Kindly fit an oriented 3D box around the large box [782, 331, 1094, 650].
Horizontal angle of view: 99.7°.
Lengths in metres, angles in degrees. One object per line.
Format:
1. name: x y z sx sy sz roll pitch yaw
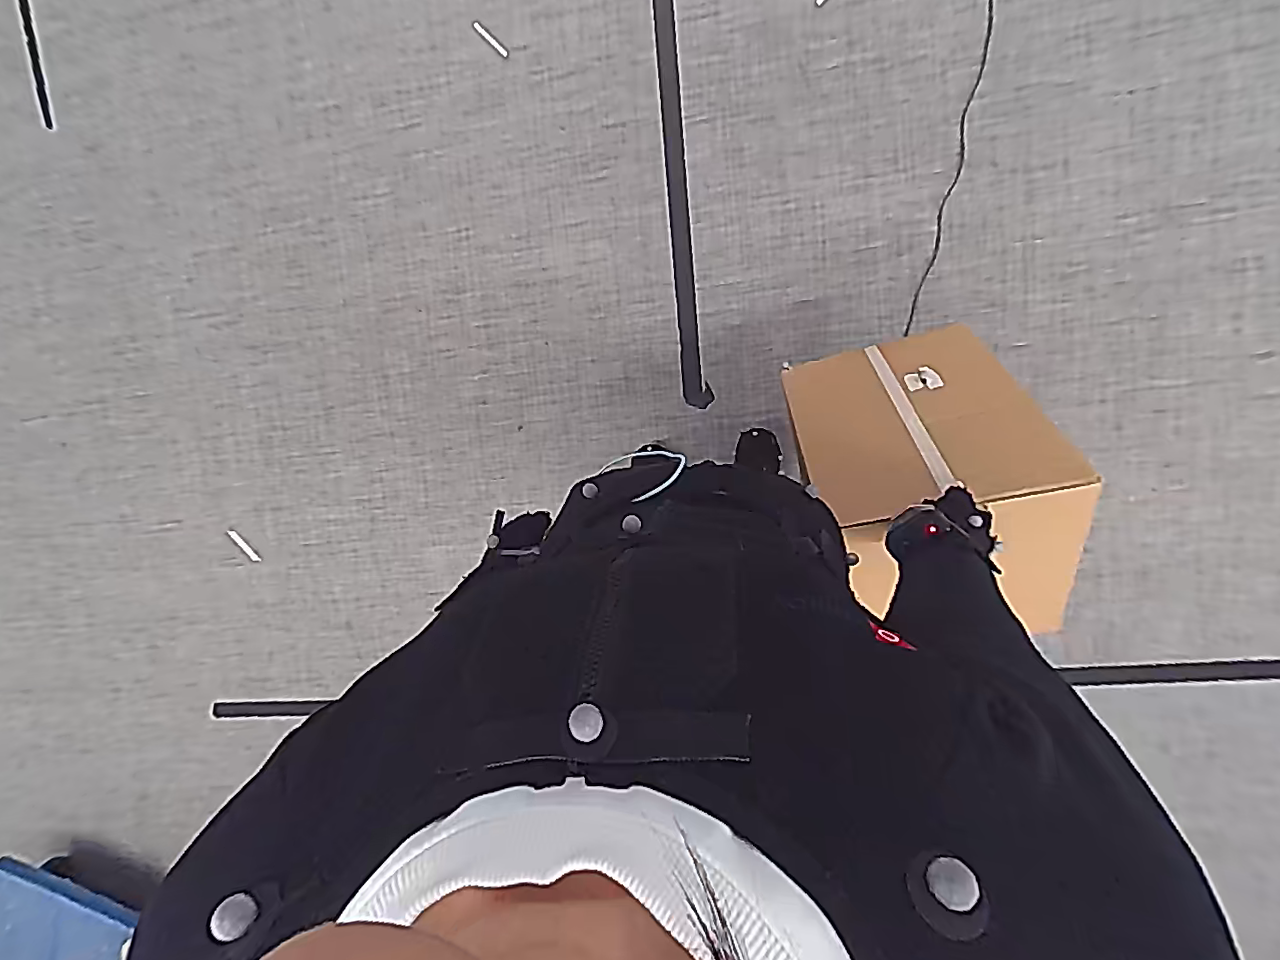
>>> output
1. large box: 0.449 0.013 0.908 0.320 0.408 0.320 -12 129 13
